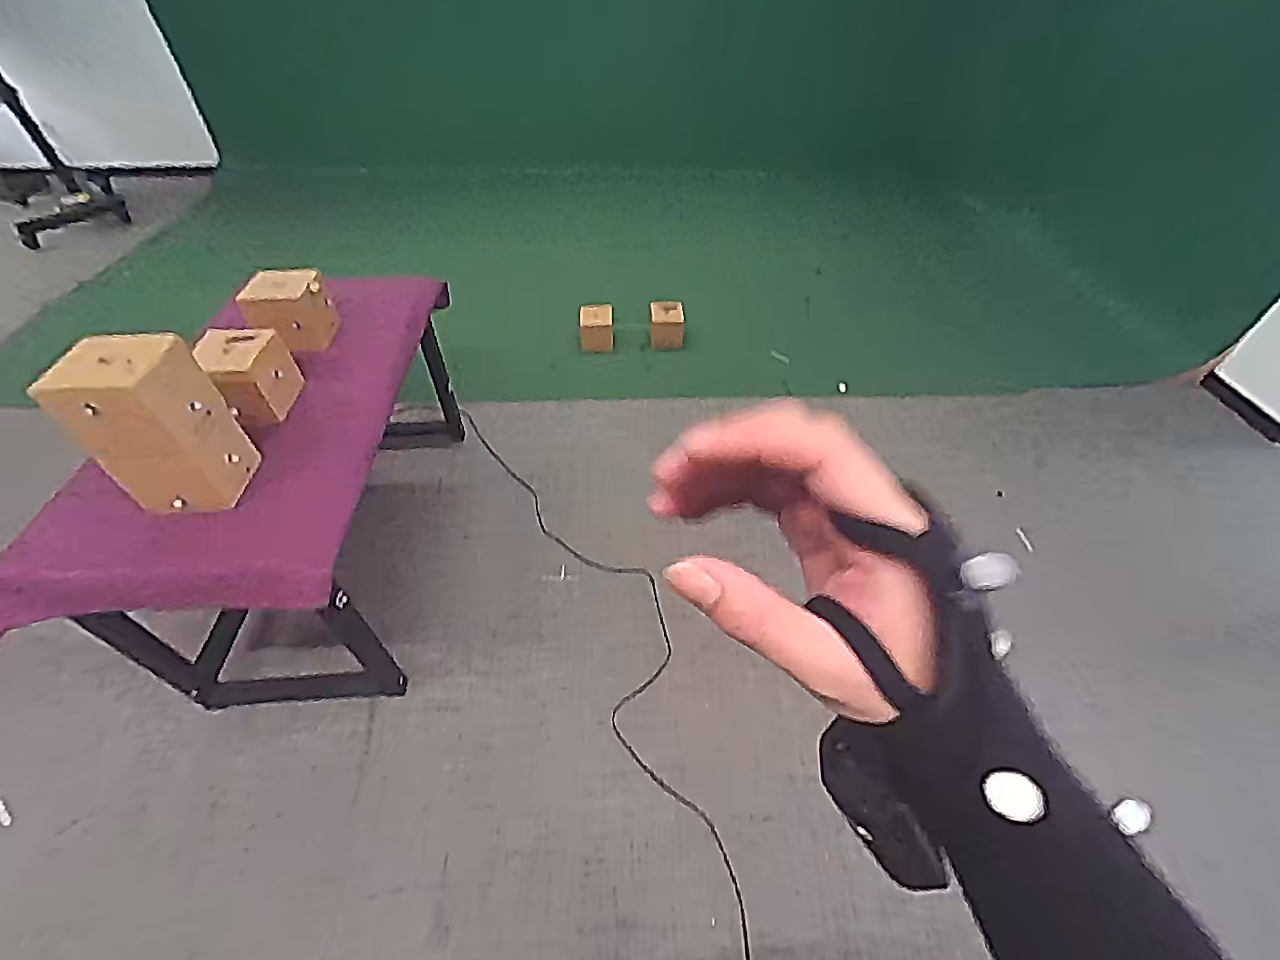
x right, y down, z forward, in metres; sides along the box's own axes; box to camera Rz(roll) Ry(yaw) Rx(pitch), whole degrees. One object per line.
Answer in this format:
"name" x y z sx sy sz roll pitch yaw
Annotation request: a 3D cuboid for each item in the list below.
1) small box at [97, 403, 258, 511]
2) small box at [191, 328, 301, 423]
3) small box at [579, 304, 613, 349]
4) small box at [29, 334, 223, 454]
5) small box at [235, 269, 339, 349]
"small box" -0.971 -0.048 1.160 0.179 0.176 0.168 -3 46 -4
"small box" -0.990 -0.261 1.358 0.168 0.176 0.179 -3 48 -3
"small box" -0.232 -0.809 2.862 0.168 0.176 0.179 -3 46 -3
"small box" -0.968 -0.162 1.041 0.179 0.176 0.168 -3 48 -4
"small box" -1.013 -0.495 1.576 0.179 0.176 0.168 -3 47 -3
